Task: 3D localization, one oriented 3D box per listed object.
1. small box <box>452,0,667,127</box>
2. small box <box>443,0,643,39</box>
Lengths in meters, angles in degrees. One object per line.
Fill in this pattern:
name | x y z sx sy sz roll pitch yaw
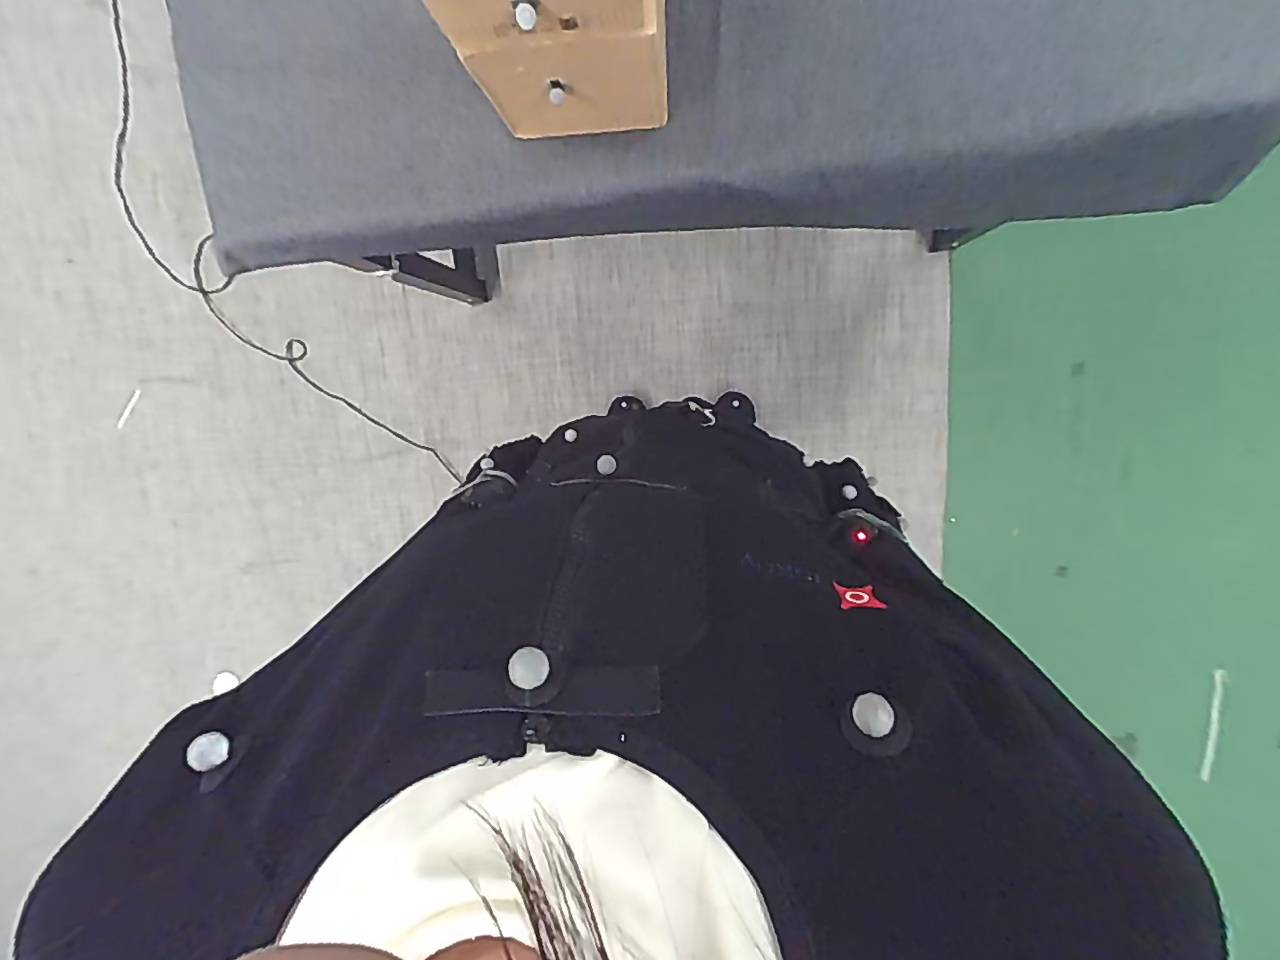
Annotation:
small box | -0.067 -0.468 0.521 0.179 0.176 0.168 0 100 6
small box | -0.086 -0.445 0.359 0.168 0.176 0.179 0 101 6
